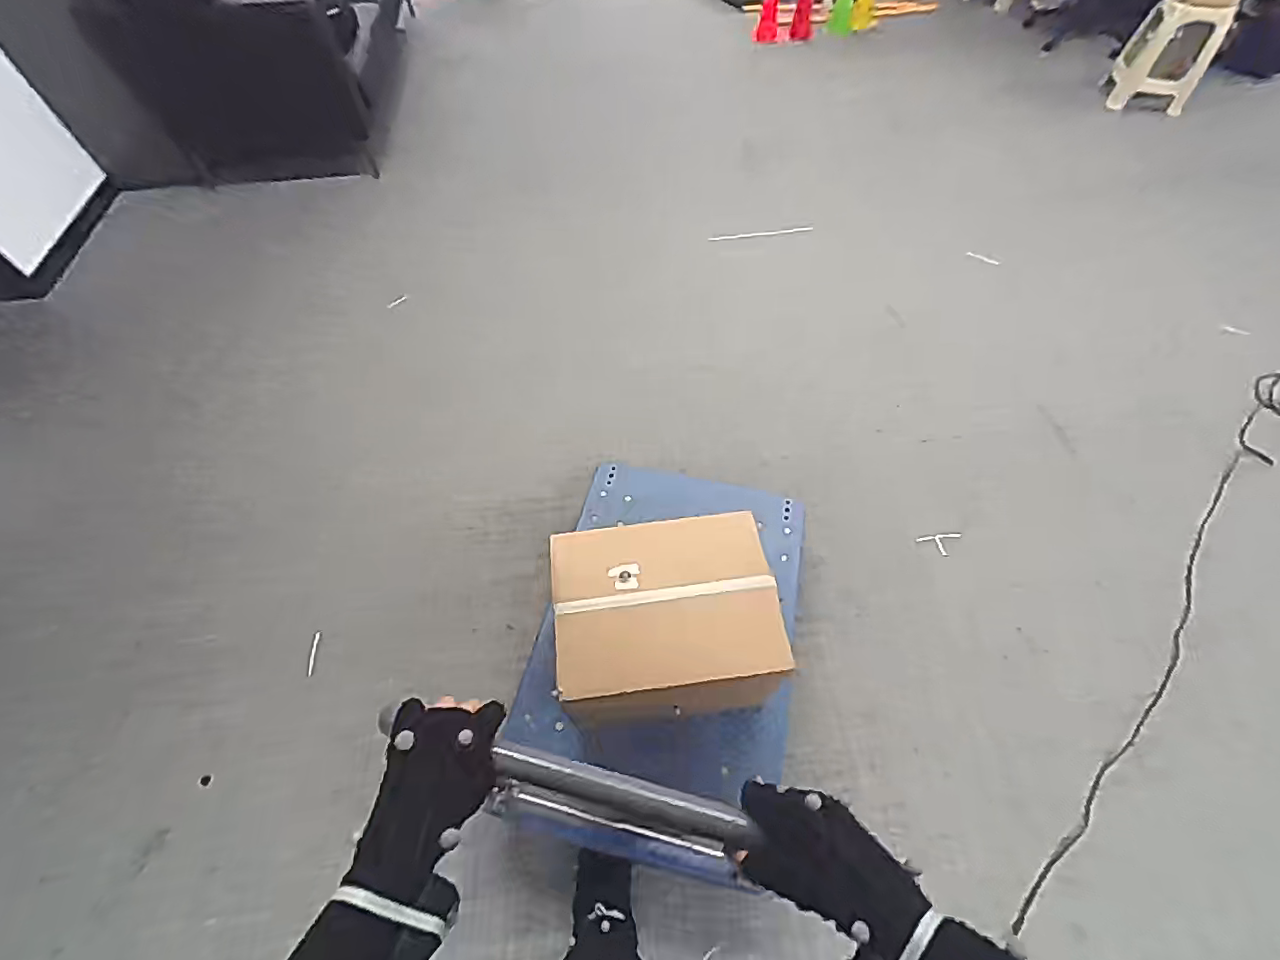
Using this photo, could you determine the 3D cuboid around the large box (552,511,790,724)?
[{"bbox_3d":[0.050,0.294,1.122,0.408,0.320,0.320,-8,57,-2],"label":"large box"}]
